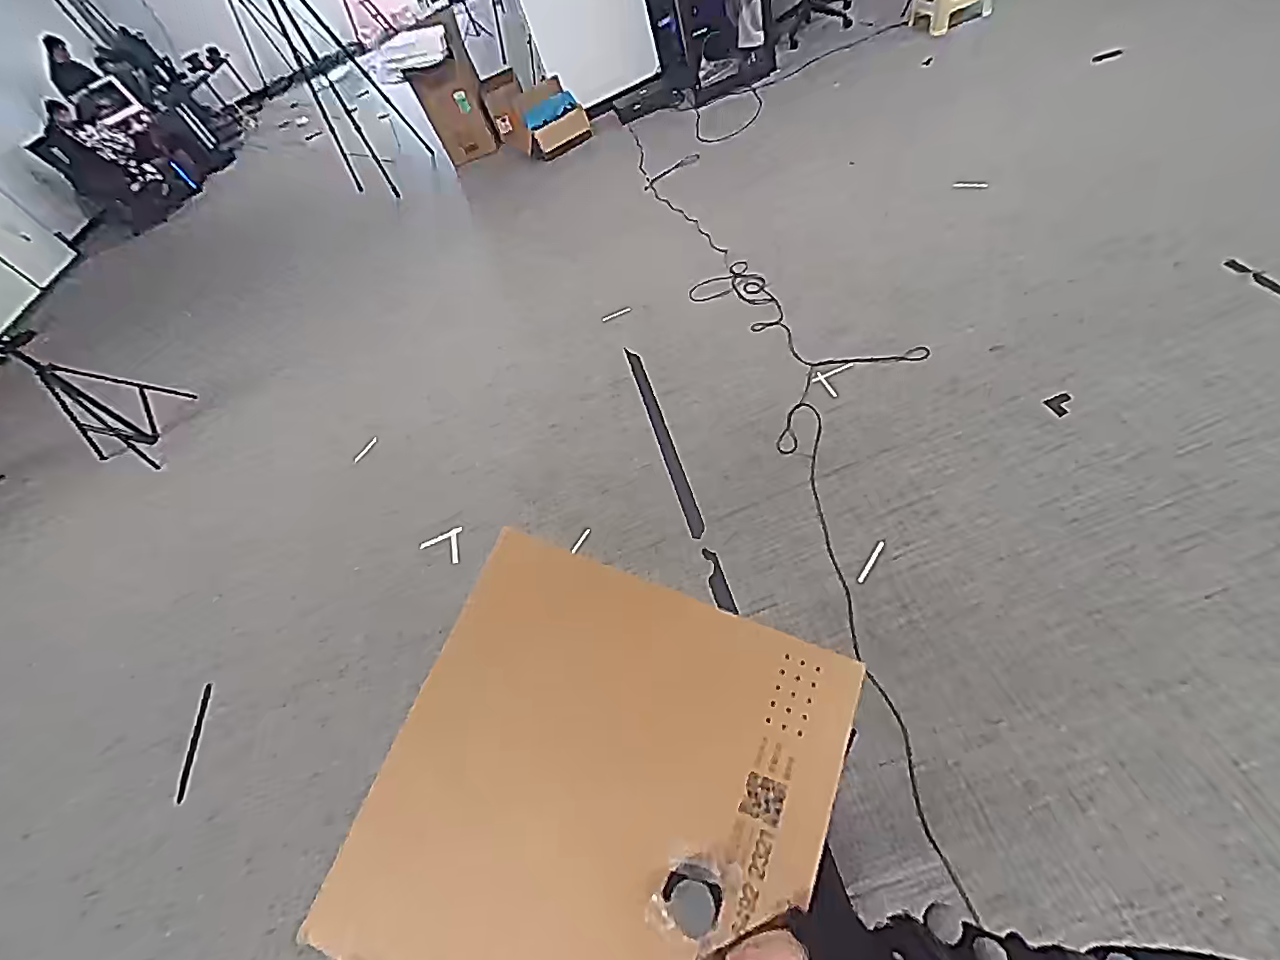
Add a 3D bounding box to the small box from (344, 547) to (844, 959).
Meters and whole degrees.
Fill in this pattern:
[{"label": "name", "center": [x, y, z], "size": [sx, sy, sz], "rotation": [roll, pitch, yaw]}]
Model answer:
[{"label": "small box", "center": [-0.009, 0.160, 0.303], "size": [0.176, 0.179, 0.168], "rotation": [19, 71, 10]}]
